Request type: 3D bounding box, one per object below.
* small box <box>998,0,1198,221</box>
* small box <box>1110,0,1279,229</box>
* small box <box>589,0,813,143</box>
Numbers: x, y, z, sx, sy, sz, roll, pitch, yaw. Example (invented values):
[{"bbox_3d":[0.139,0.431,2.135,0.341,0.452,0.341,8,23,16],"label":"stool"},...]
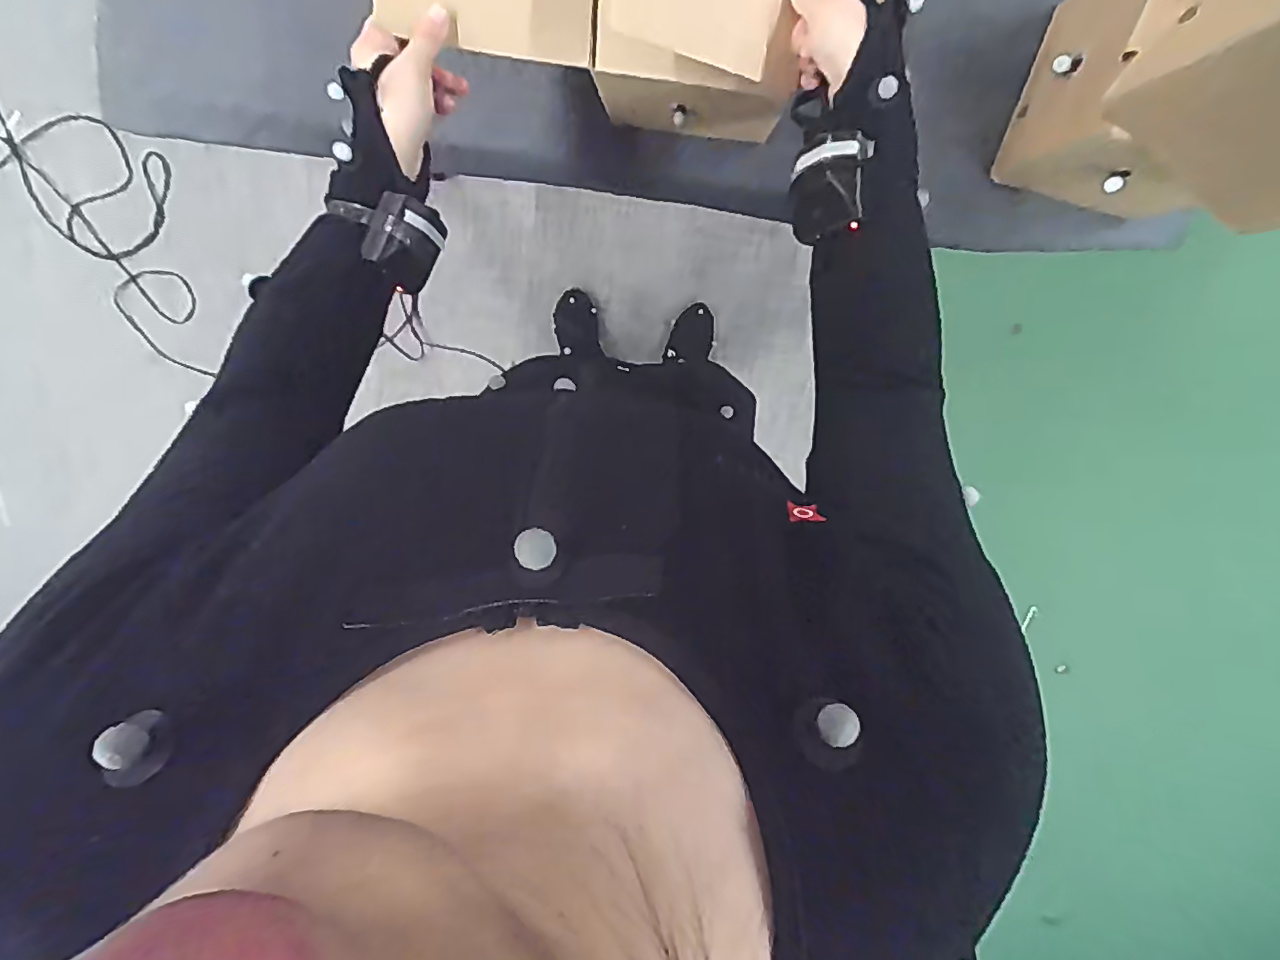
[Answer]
[{"bbox_3d":[0.487,-0.357,0.504,0.179,0.176,0.168,14,108,-2],"label":"small box"},{"bbox_3d":[0.482,-0.291,0.354,0.179,0.176,0.168,34,105,-10],"label":"small box"},{"bbox_3d":[0.059,-0.429,0.498,0.179,0.176,0.168,8,111,2],"label":"small box"}]
